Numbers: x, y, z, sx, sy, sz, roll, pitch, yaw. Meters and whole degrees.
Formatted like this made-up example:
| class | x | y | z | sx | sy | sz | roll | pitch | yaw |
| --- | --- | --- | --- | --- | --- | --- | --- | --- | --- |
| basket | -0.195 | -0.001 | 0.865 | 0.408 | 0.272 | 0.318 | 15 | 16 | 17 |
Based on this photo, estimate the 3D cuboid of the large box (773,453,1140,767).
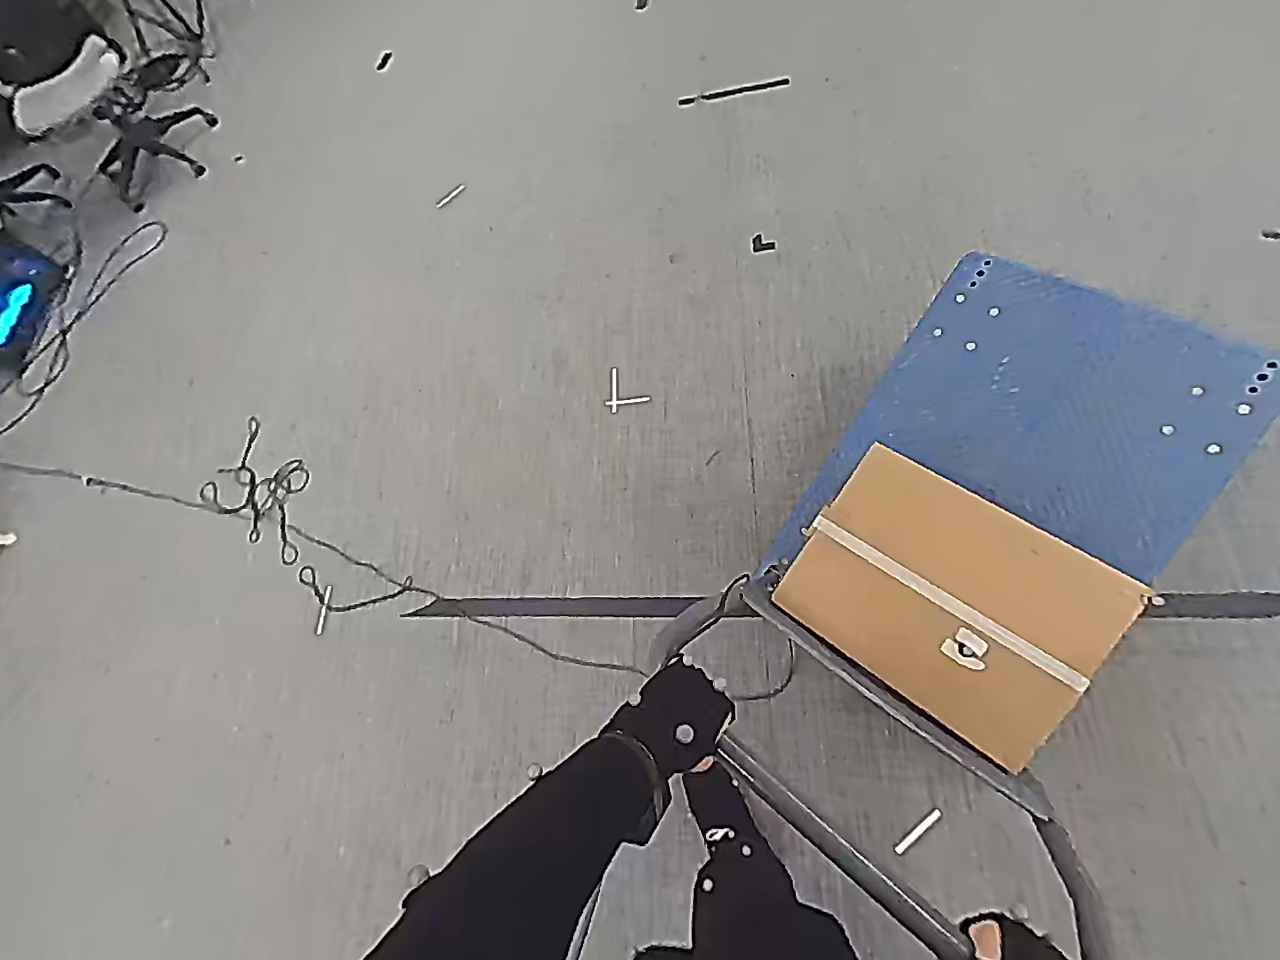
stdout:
| class | x | y | z | sx | sy | sz | roll | pitch | yaw |
| --- | --- | --- | --- | --- | --- | --- | --- | --- | --- |
| large box | 0.507 | 0.199 | 0.961 | 0.408 | 0.320 | 0.320 | 34 | 97 | 23 |
